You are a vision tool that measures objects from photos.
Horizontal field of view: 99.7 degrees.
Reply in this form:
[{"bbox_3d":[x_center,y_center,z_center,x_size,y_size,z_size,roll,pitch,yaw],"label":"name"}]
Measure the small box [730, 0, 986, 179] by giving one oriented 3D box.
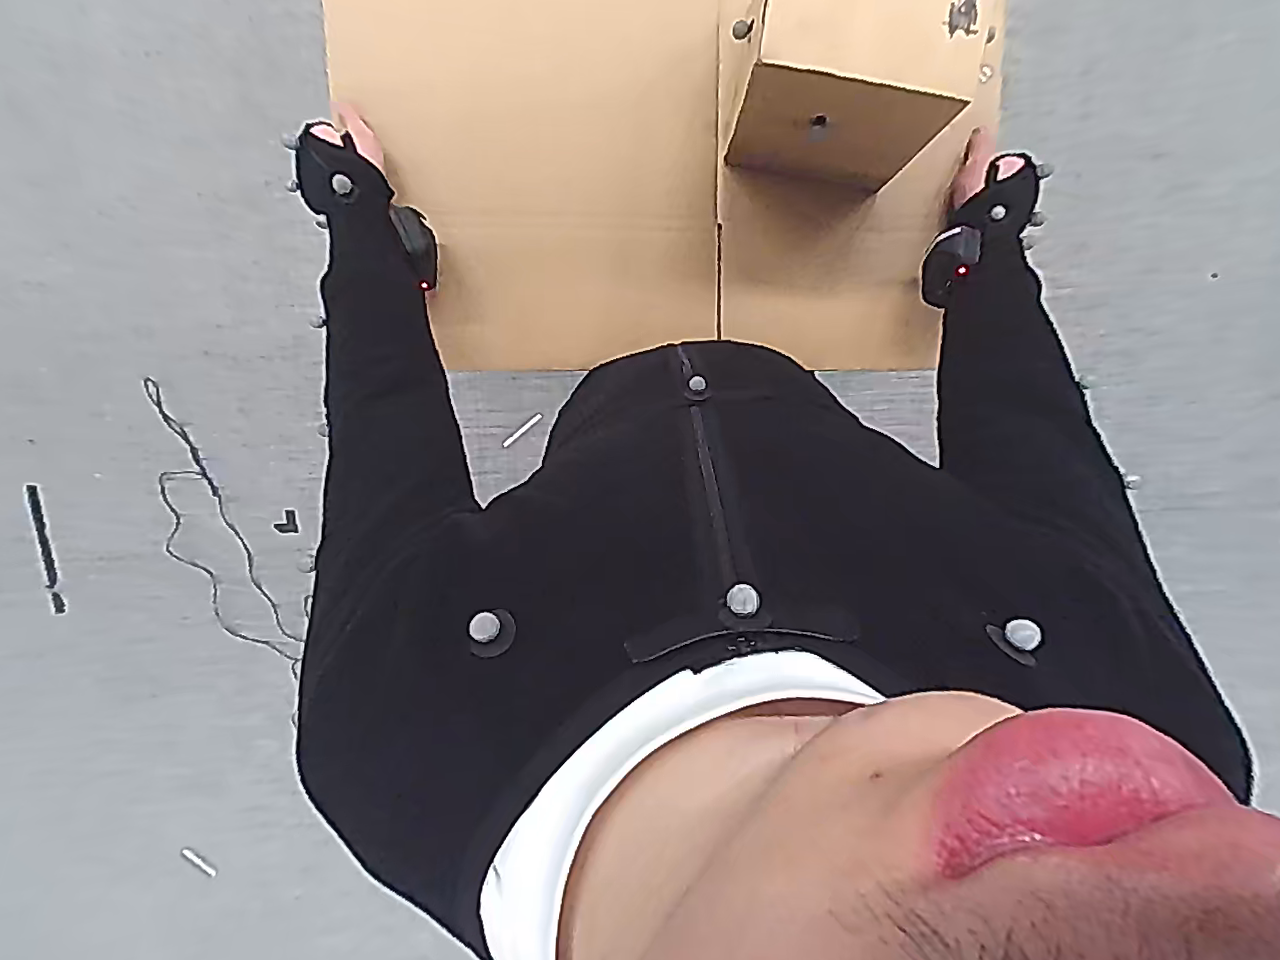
[{"bbox_3d":[0.188,-0.406,0.500,0.179,0.176,0.168,9,97,0],"label":"small box"}]
